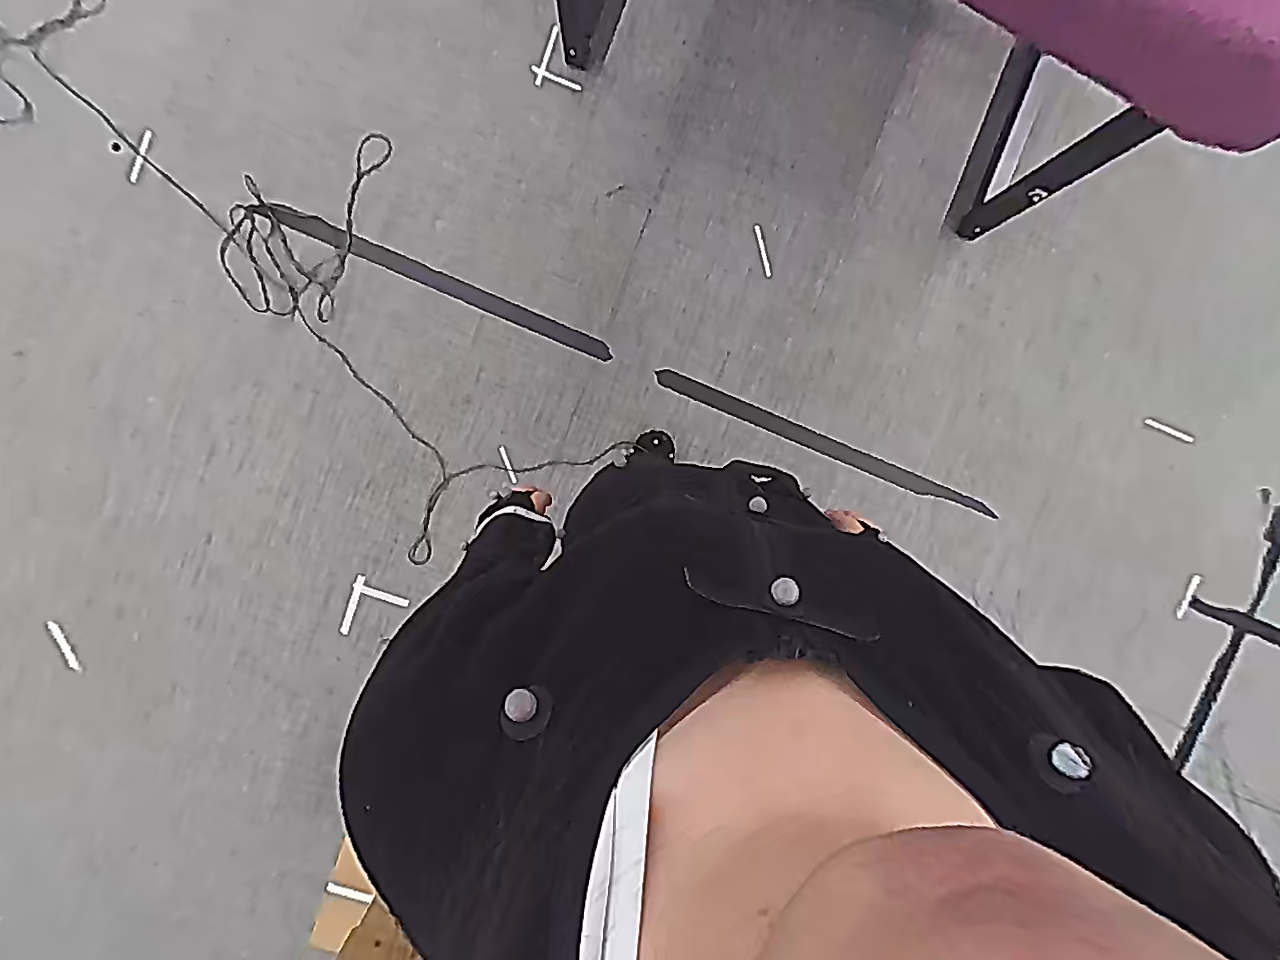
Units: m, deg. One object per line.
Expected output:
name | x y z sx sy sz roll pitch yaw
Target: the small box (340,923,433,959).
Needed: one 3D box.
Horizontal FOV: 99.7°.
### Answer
small box | -0.509 0.994 1.016 0.168 0.176 0.179 17 95 -2
